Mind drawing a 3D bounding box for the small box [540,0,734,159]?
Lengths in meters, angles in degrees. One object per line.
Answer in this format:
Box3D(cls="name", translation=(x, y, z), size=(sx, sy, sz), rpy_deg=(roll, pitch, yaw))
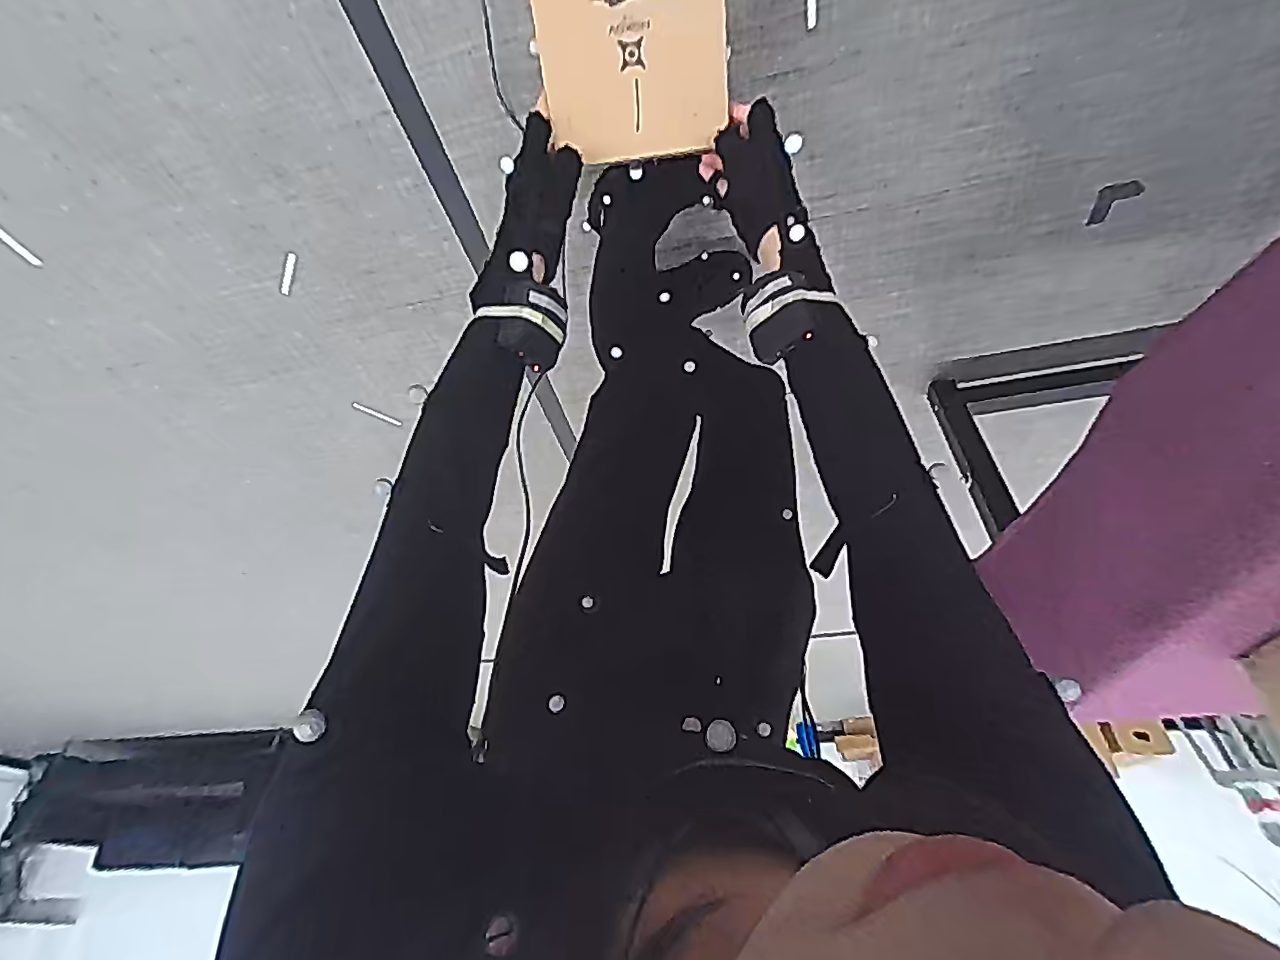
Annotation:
Box3D(cls="small box", translation=(-0.005, -0.425, 0.531), size=(0.168, 0.176, 0.179), rpy_deg=(-6, 120, 2))
